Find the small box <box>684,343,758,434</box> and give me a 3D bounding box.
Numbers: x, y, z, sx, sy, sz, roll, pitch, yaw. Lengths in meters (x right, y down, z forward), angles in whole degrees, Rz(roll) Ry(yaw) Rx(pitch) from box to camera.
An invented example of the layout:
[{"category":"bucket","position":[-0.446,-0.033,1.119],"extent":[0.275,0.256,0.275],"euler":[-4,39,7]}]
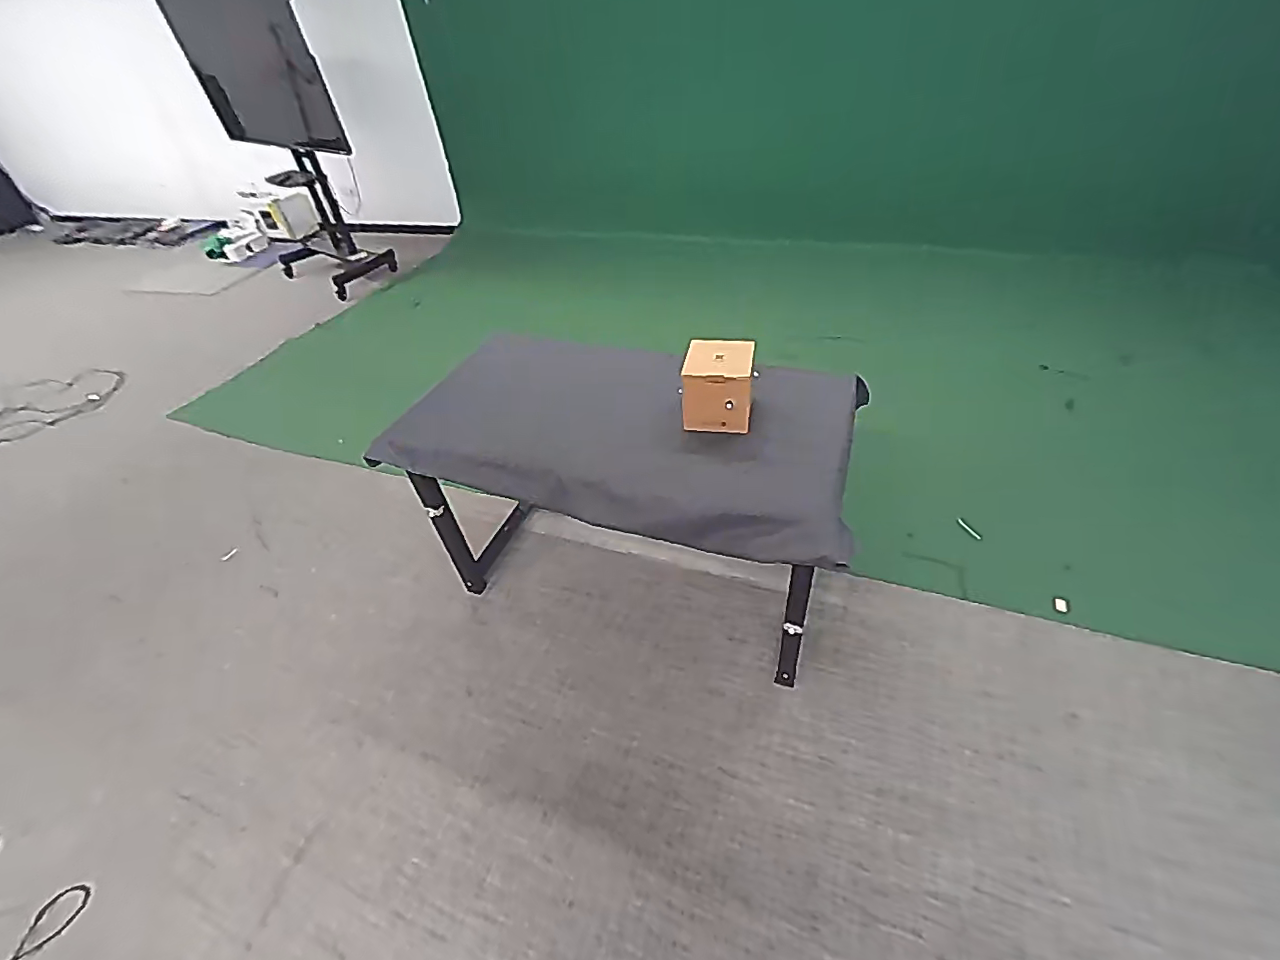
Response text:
[{"category":"small box","position":[0.210,-0.236,1.396],"extent":[0.168,0.176,0.179],"euler":[6,42,12]}]
